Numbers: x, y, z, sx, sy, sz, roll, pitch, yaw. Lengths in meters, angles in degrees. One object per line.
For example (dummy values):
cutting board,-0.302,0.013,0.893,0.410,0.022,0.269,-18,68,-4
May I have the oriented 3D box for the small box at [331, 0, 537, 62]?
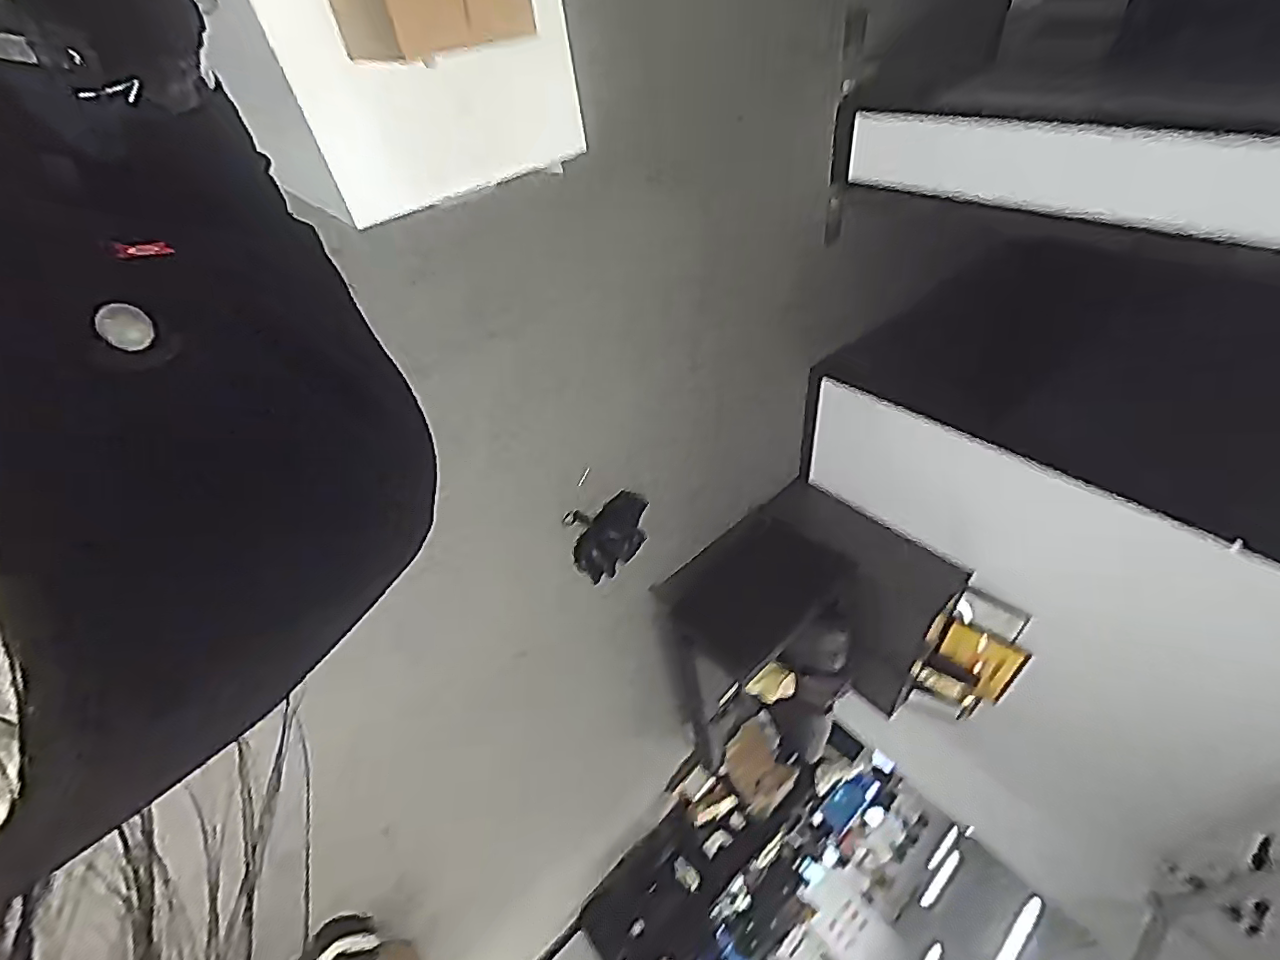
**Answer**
small box,-0.240,-0.566,0.576,0.168,0.176,0.179,-34,139,-26
